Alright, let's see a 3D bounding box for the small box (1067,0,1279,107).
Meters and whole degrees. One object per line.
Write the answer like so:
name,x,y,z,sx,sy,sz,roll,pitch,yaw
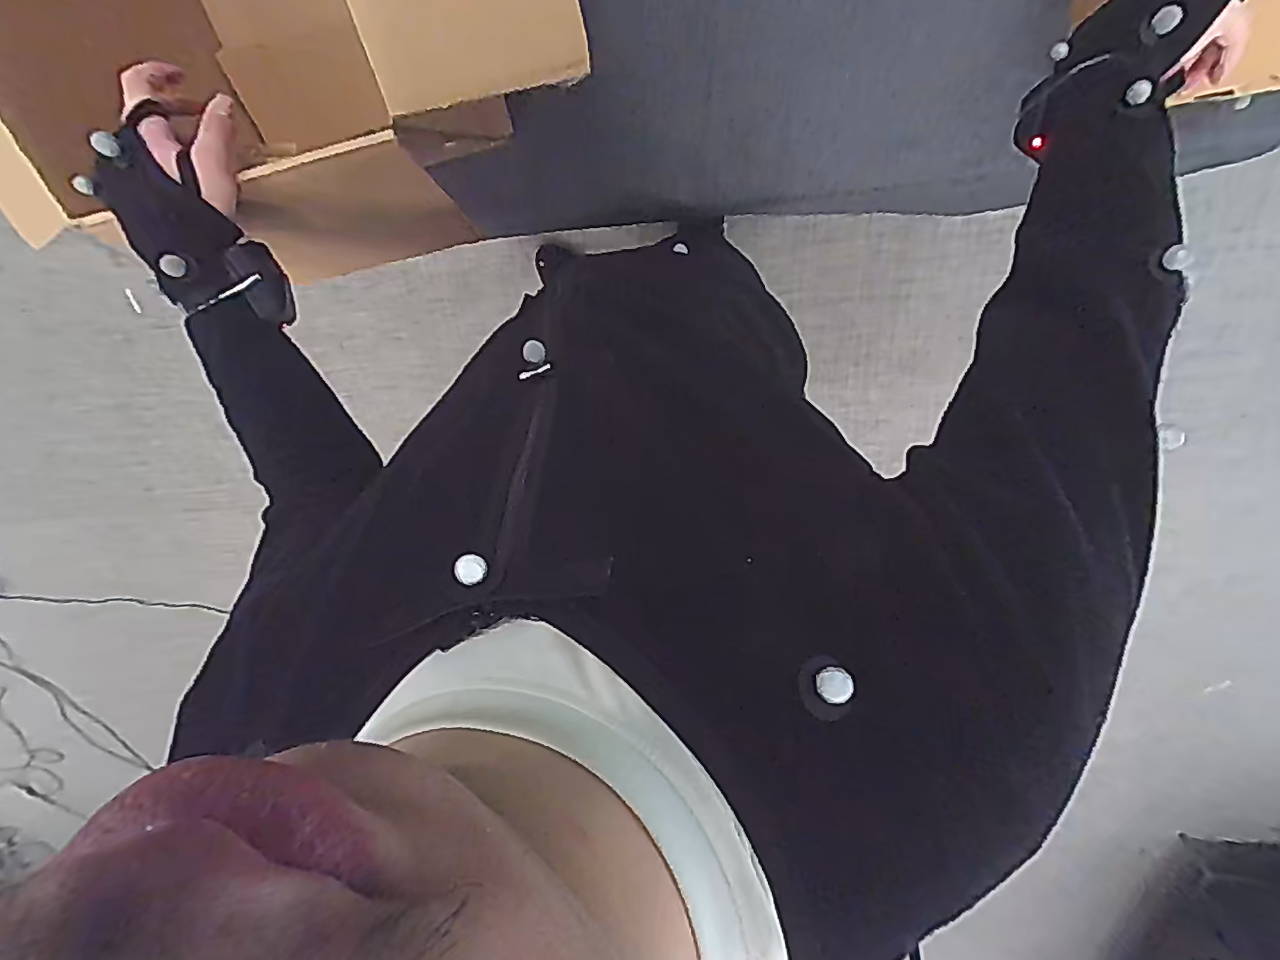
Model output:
small box,0.513,-0.440,0.466,0.168,0.176,0.179,-5,119,12
